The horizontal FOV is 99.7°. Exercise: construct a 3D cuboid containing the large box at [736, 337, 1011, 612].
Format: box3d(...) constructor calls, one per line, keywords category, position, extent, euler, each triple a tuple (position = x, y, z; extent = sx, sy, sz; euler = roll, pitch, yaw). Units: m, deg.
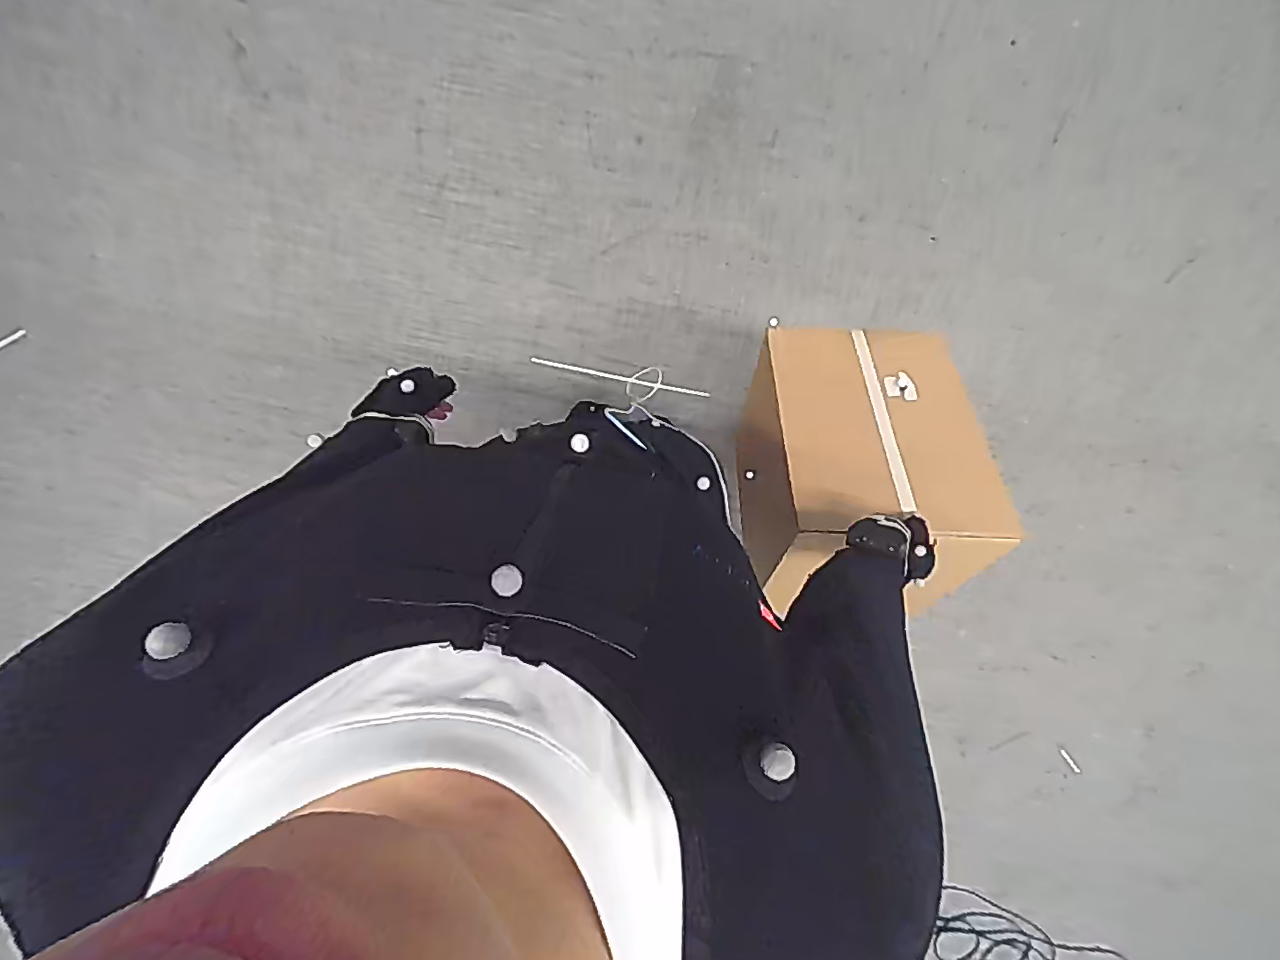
box3d(category="large box", position=(0.366, -0.001, 0.983), extent=(0.320, 0.320, 0.408), euler=(3, 56, -2))
